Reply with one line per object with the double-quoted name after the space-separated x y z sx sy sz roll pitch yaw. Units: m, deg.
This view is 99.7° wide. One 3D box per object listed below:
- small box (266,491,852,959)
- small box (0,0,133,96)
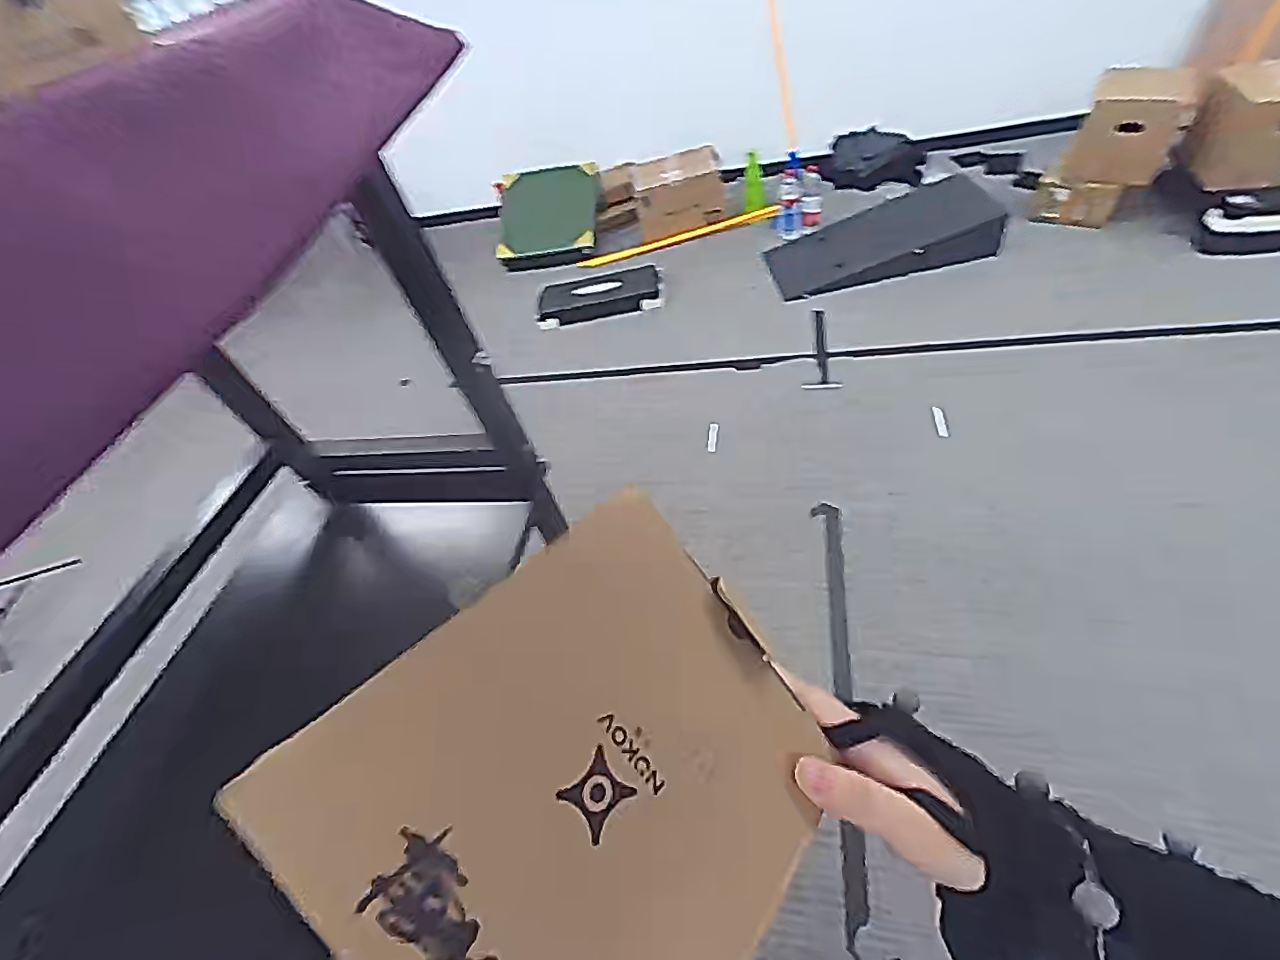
-0.043 0.136 0.263 0.179 0.176 0.168 -35 87 -37 "small box"
-0.586 -0.405 0.428 0.179 0.176 0.168 2 51 18 "small box"
